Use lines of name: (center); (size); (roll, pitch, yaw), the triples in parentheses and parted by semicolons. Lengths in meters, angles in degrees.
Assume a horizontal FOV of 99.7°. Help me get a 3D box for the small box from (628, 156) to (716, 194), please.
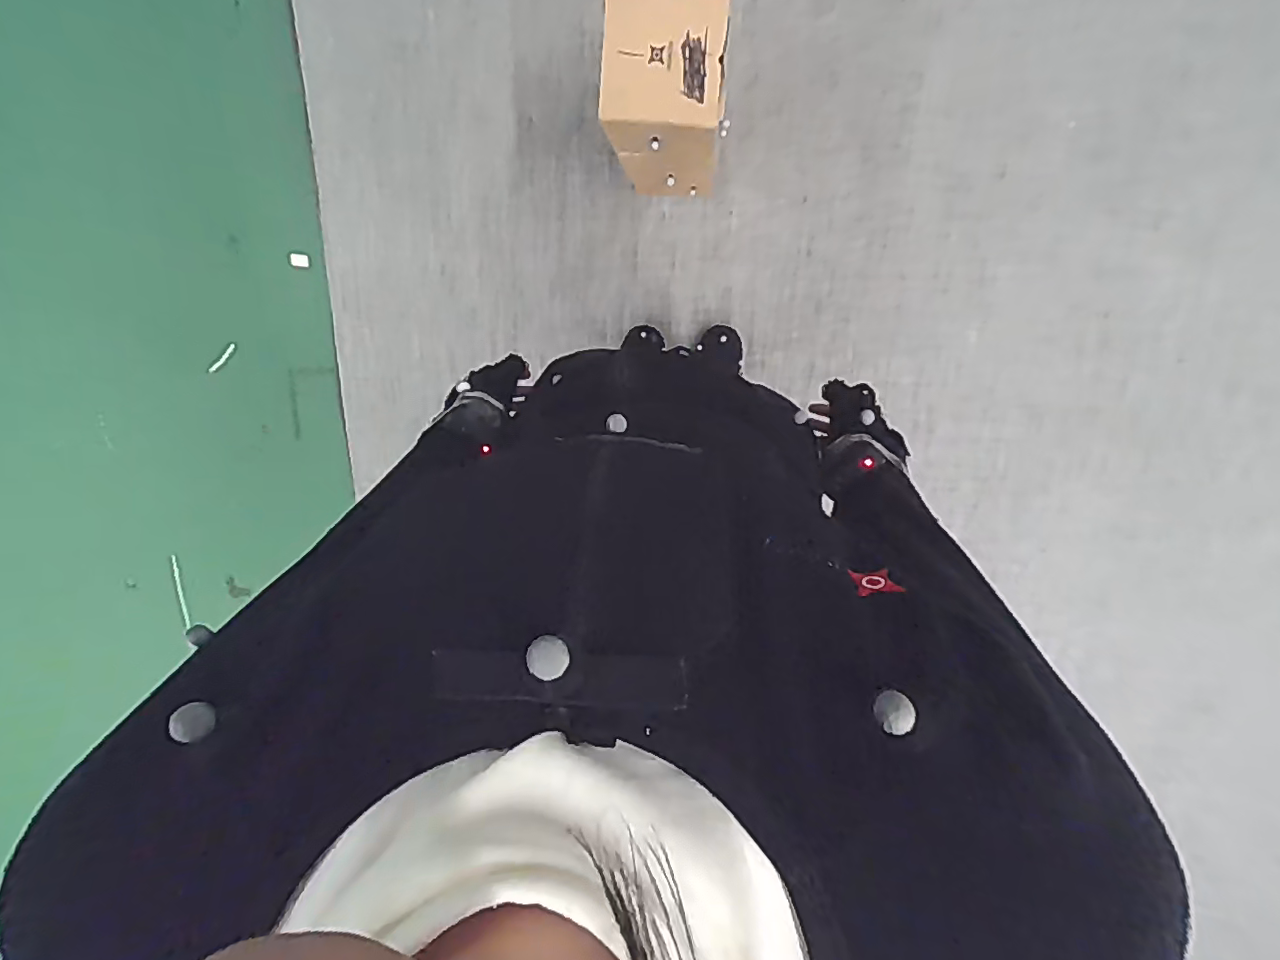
small box: (0.075, -0.718, 1.149); (0.179, 0.176, 0.168); (5, 107, 7)

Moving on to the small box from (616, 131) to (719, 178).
small box: (0.059, -0.667, 0.994); (0.179, 0.176, 0.168); (6, 107, 5)

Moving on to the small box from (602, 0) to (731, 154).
small box: (0.041, -0.621, 0.837); (0.179, 0.176, 0.168); (4, 107, 5)
